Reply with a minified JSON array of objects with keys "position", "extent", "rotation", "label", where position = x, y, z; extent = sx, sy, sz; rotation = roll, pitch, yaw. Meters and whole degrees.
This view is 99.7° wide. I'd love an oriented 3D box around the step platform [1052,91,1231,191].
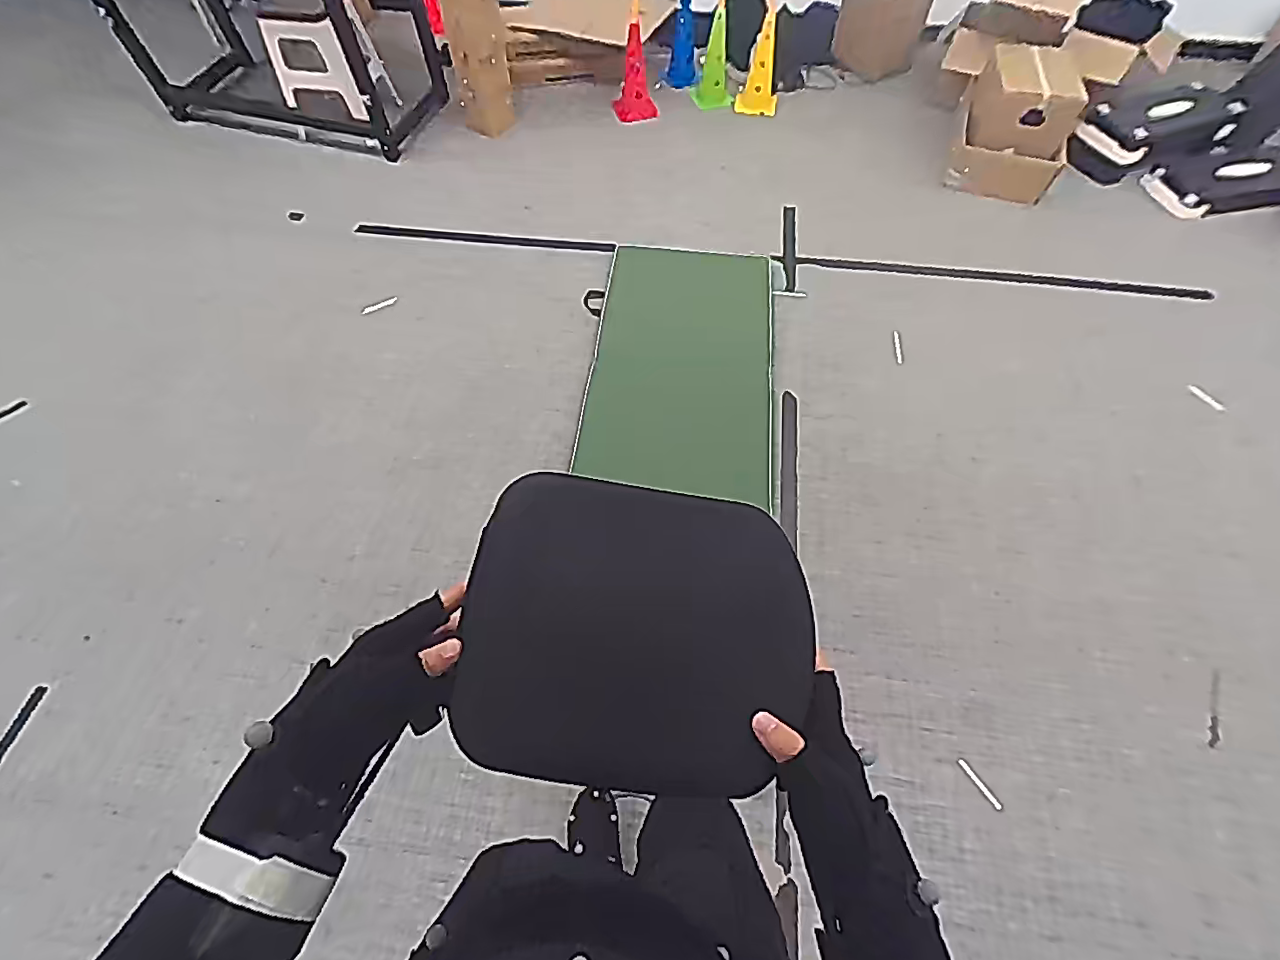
[{"position":[2.262,-1.535,2.442],"extent":[0.684,0.204,0.286],"rotation":[-20,63,-11],"label":"step platform"}]
